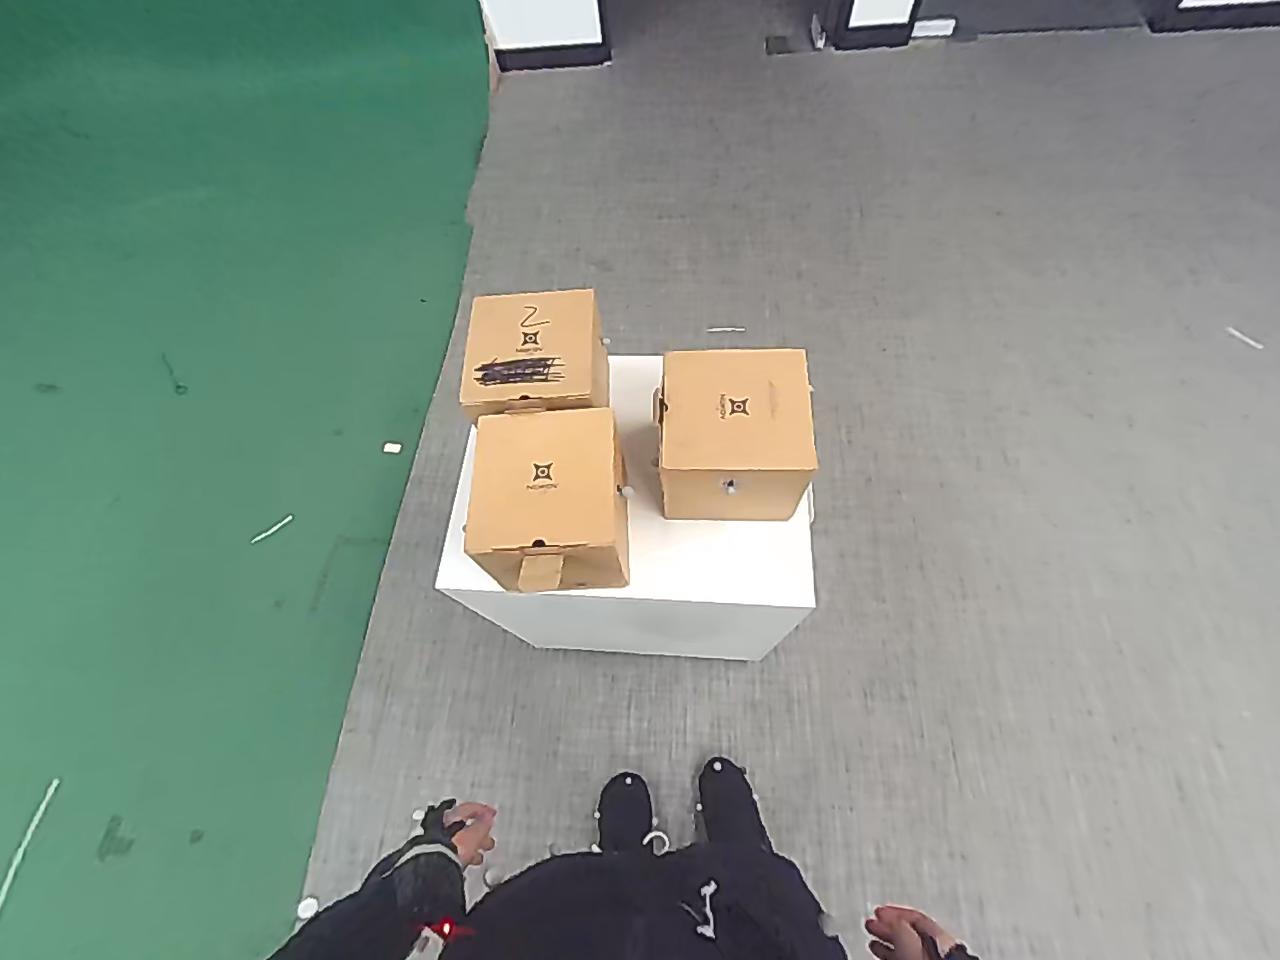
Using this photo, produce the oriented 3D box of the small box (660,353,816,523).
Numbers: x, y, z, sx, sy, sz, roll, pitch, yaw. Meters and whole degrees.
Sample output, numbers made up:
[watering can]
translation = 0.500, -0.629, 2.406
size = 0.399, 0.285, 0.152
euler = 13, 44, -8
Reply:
[small box]
translation = 0.119, -0.047, 0.706
size = 0.179, 0.176, 0.168
euler = 0, 66, 5
